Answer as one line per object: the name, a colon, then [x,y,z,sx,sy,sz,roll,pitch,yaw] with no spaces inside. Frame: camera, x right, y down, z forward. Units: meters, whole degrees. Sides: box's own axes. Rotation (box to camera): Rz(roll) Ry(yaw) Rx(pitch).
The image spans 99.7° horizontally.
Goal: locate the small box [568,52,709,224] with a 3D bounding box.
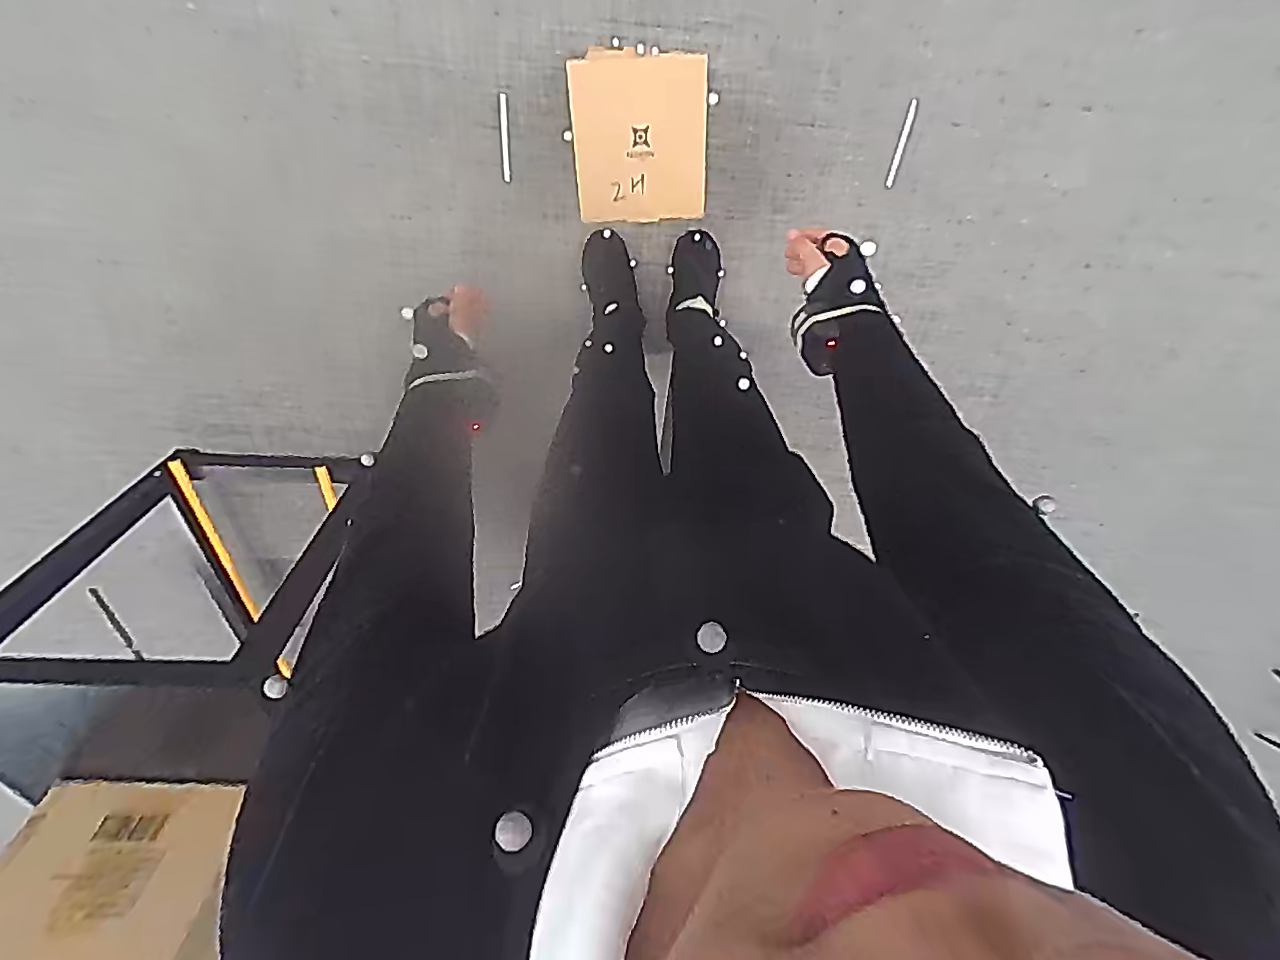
small box: [-0.002,-0.459,0.730,0.168,0.176,0.179,-2,126,1]
